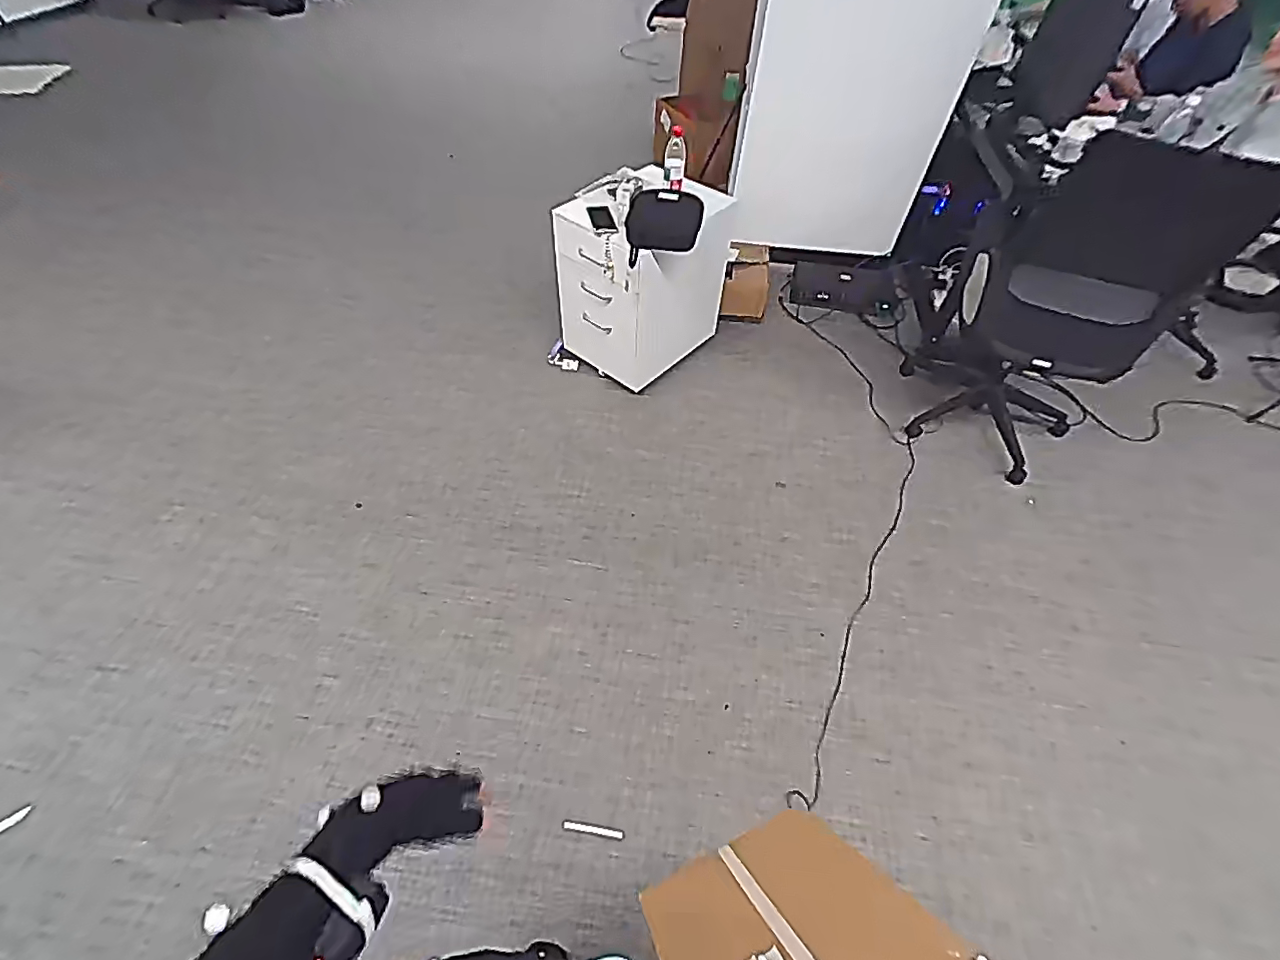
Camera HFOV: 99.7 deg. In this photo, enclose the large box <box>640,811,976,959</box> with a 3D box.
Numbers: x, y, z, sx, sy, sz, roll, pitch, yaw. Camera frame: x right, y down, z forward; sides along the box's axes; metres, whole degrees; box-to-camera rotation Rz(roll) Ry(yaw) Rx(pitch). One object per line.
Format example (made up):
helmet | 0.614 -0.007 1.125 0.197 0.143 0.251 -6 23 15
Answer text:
large box | 0.229 0.726 0.699 0.320 0.408 0.320 -20 85 -14
